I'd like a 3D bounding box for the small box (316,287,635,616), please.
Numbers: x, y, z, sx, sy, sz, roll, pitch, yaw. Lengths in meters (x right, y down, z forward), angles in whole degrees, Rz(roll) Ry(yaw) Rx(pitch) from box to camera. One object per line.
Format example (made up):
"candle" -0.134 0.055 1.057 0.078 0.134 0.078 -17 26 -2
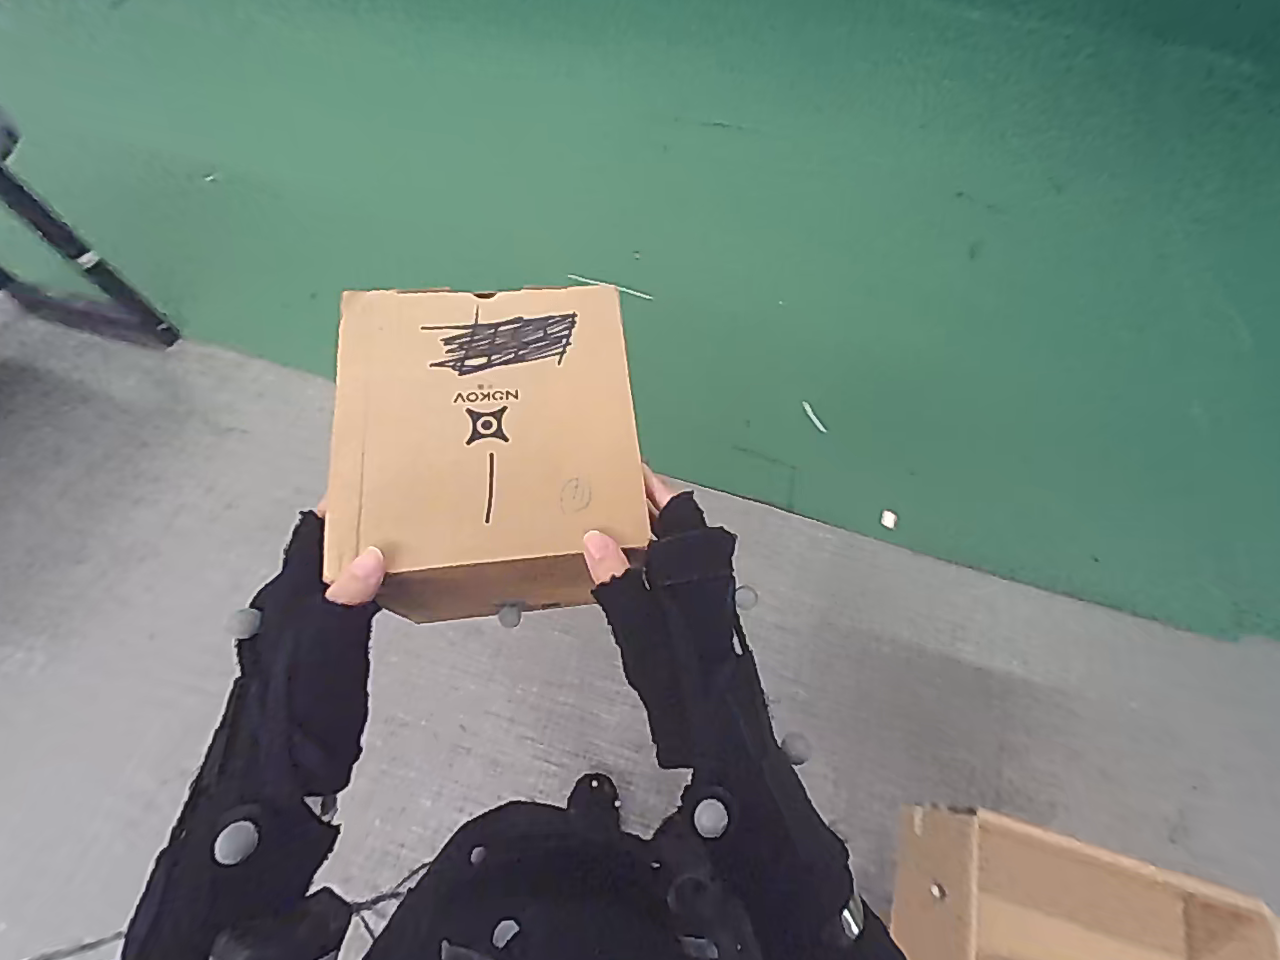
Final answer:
"small box" -0.102 -0.011 0.386 0.168 0.176 0.179 -5 69 -8
